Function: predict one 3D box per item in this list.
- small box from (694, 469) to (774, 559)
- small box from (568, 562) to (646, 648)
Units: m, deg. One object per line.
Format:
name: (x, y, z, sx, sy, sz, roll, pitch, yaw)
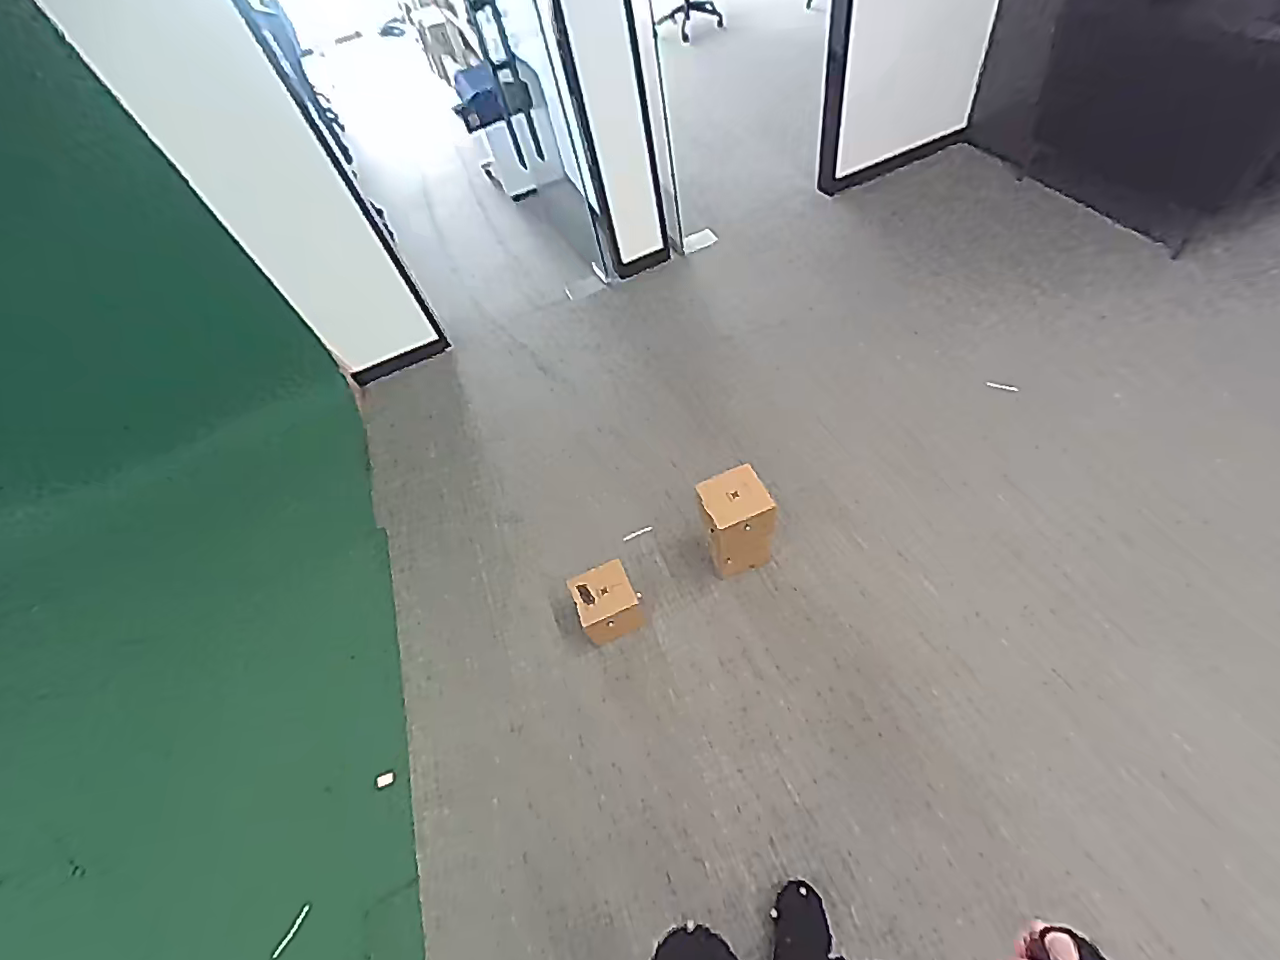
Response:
small box: (0.275, 0.103, 1.572, 0.179, 0.176, 0.168, -22, 53, -5)
small box: (-0.098, 0.388, 1.654, 0.179, 0.176, 0.168, -23, 53, -6)
